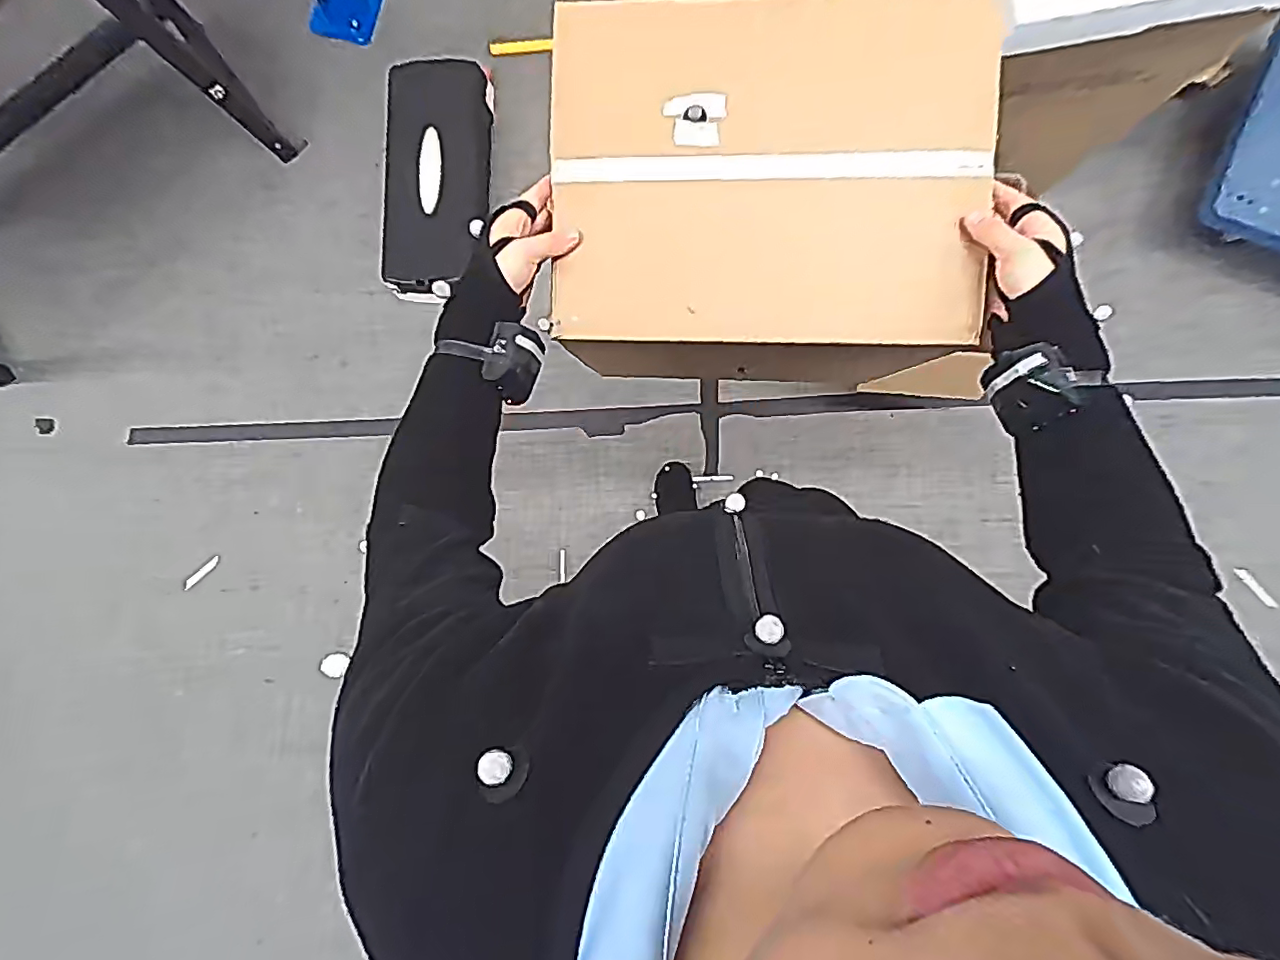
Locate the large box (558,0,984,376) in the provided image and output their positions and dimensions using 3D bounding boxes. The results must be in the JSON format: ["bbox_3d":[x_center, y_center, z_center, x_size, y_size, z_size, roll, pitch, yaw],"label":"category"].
[{"bbox_3d":[0.131,-0.300,0.666,0.408,0.320,0.320,1,93,5],"label":"large box"}]
